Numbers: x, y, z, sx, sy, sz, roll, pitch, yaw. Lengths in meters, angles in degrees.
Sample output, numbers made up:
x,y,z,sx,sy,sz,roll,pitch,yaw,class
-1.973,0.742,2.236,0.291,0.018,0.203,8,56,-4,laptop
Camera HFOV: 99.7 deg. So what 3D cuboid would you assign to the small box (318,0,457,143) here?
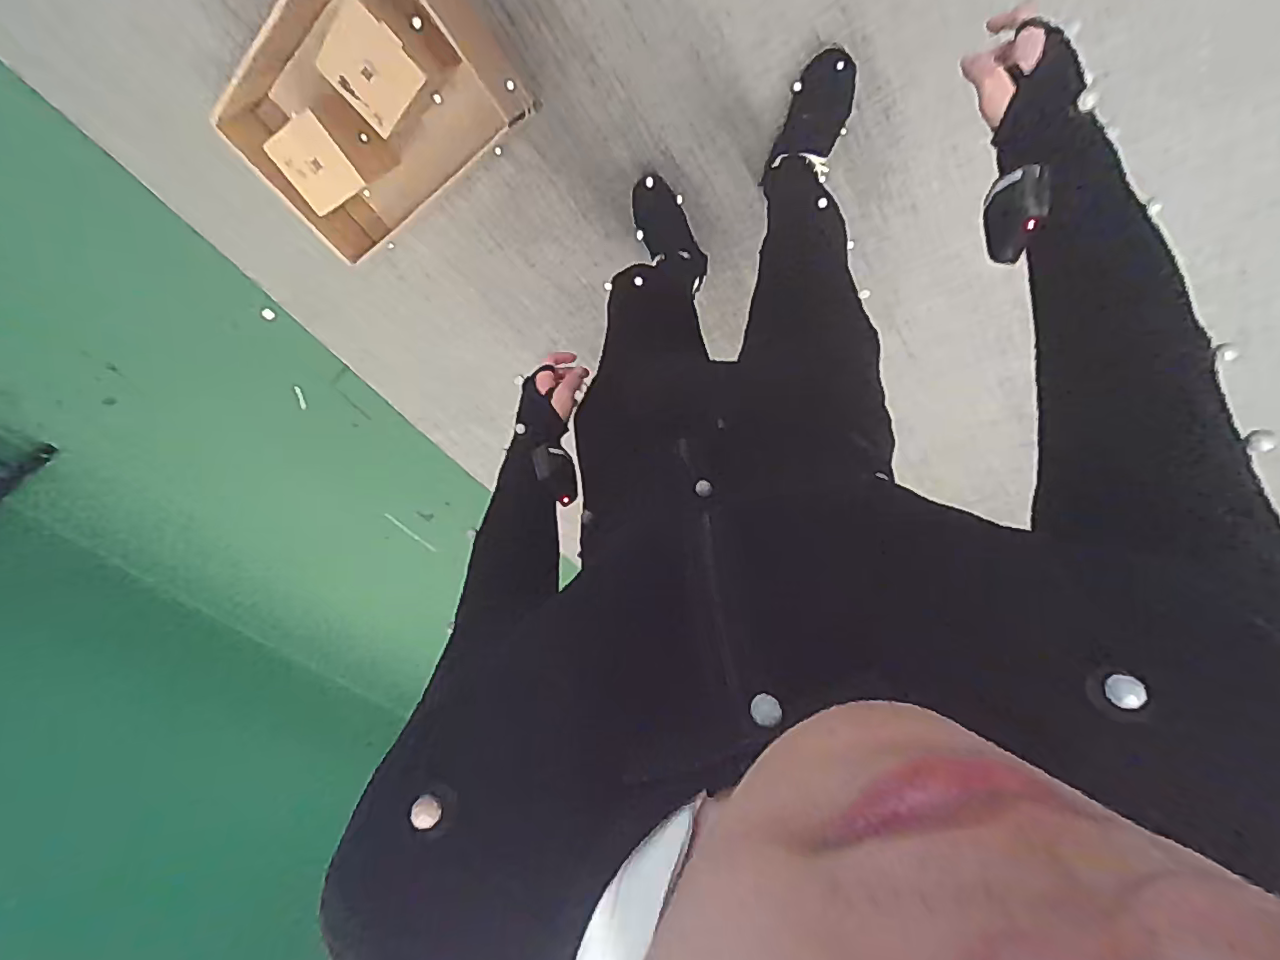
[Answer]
x,y,z,sx,sy,sz,roll,pitch,yaw,class
-0.500,-0.839,1.095,0.179,0.176,0.168,-24,125,35,small box
